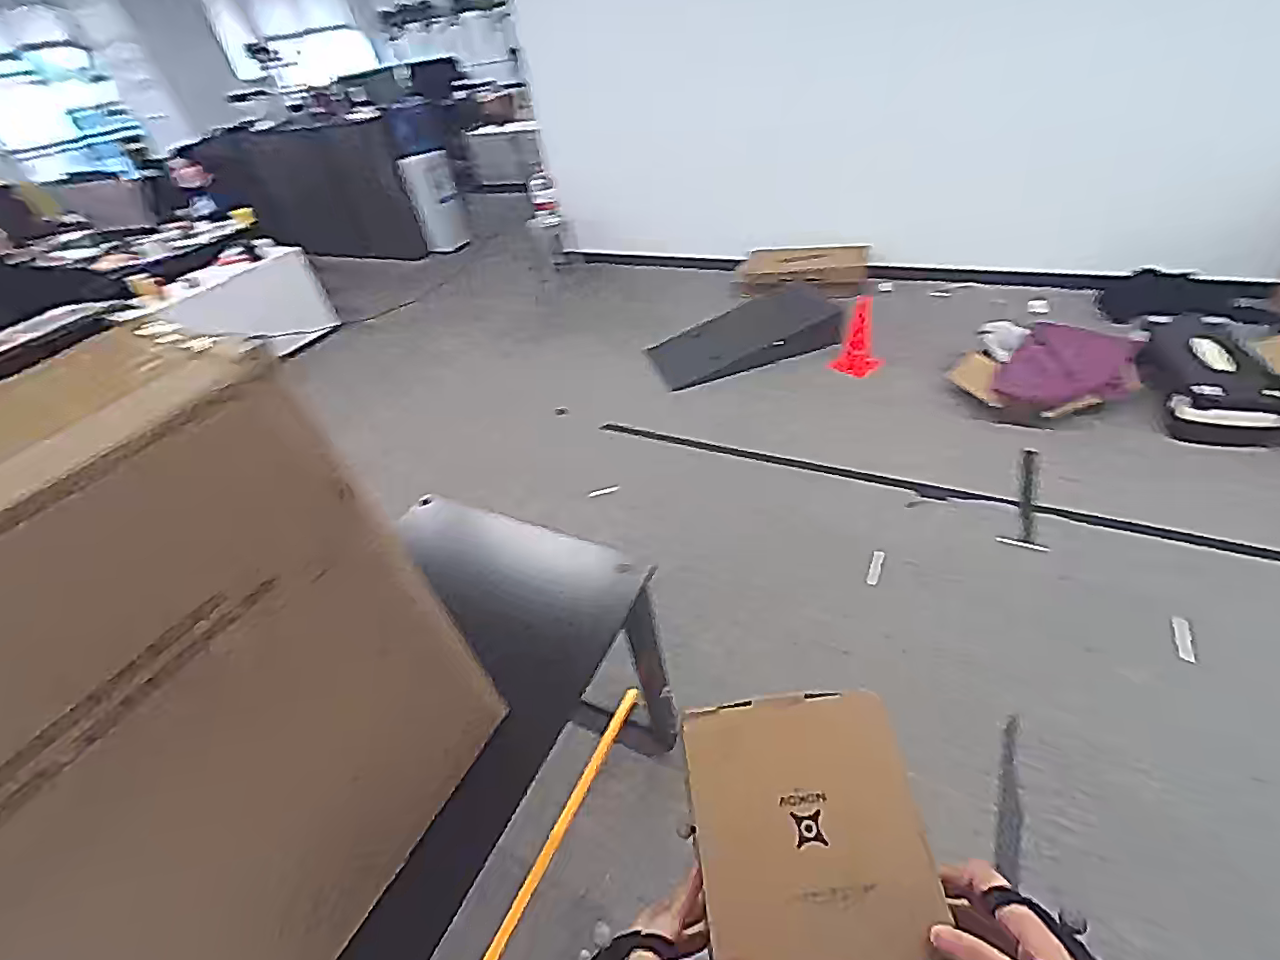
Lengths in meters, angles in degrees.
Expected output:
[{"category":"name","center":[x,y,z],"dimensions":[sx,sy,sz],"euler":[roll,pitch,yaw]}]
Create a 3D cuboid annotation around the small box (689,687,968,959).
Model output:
[{"category":"small box","center":[0.134,0.295,0.468],"dimensions":[0.168,0.176,0.179],"euler":[-6,58,1]}]
